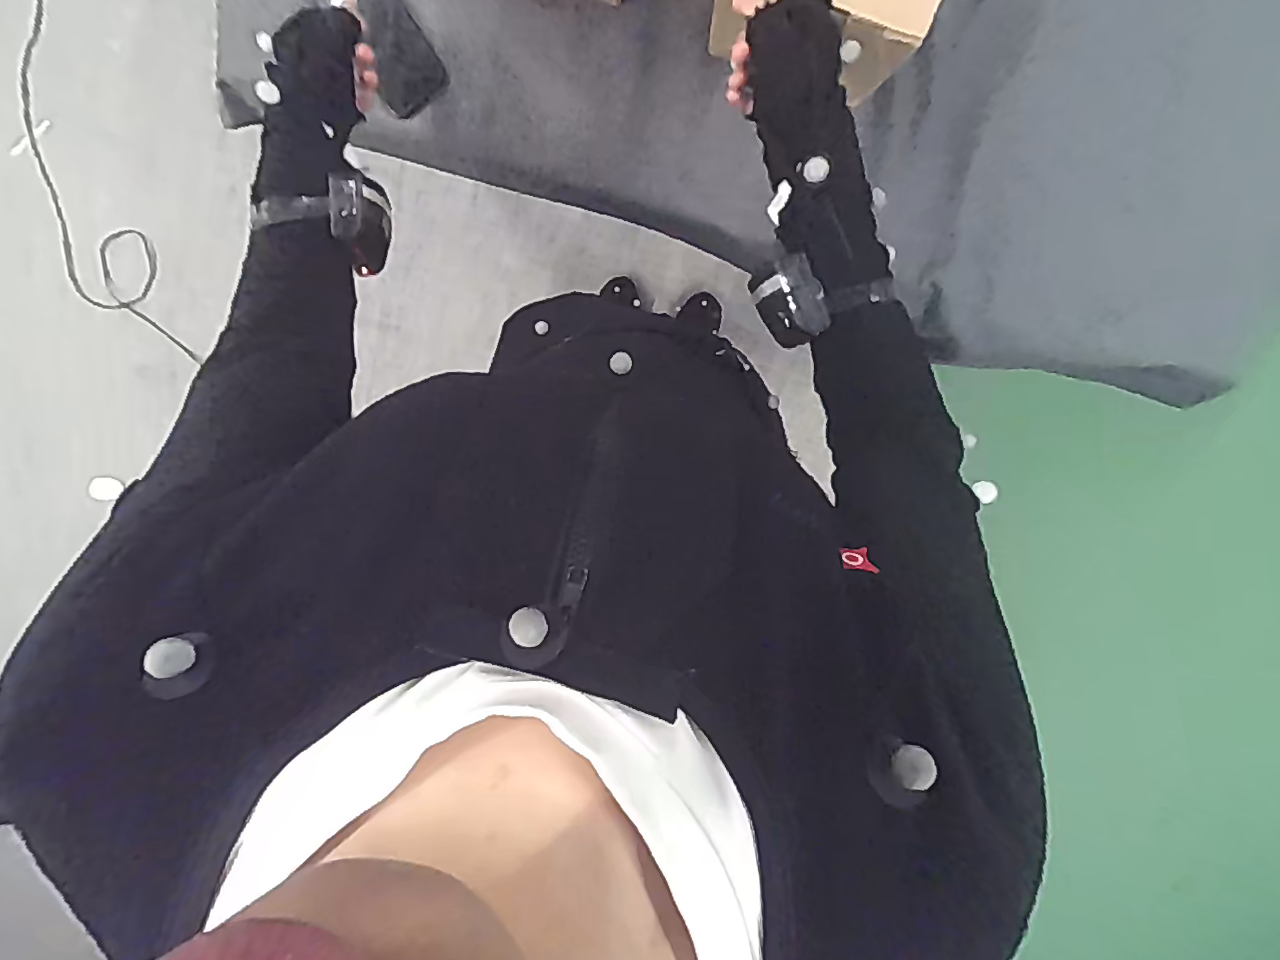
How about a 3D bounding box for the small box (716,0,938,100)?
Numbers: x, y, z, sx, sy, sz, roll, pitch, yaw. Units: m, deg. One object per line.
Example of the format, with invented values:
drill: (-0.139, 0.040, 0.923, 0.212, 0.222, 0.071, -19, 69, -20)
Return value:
small box: (0.169, -0.458, 0.451, 0.168, 0.176, 0.179, 18, 110, -3)
